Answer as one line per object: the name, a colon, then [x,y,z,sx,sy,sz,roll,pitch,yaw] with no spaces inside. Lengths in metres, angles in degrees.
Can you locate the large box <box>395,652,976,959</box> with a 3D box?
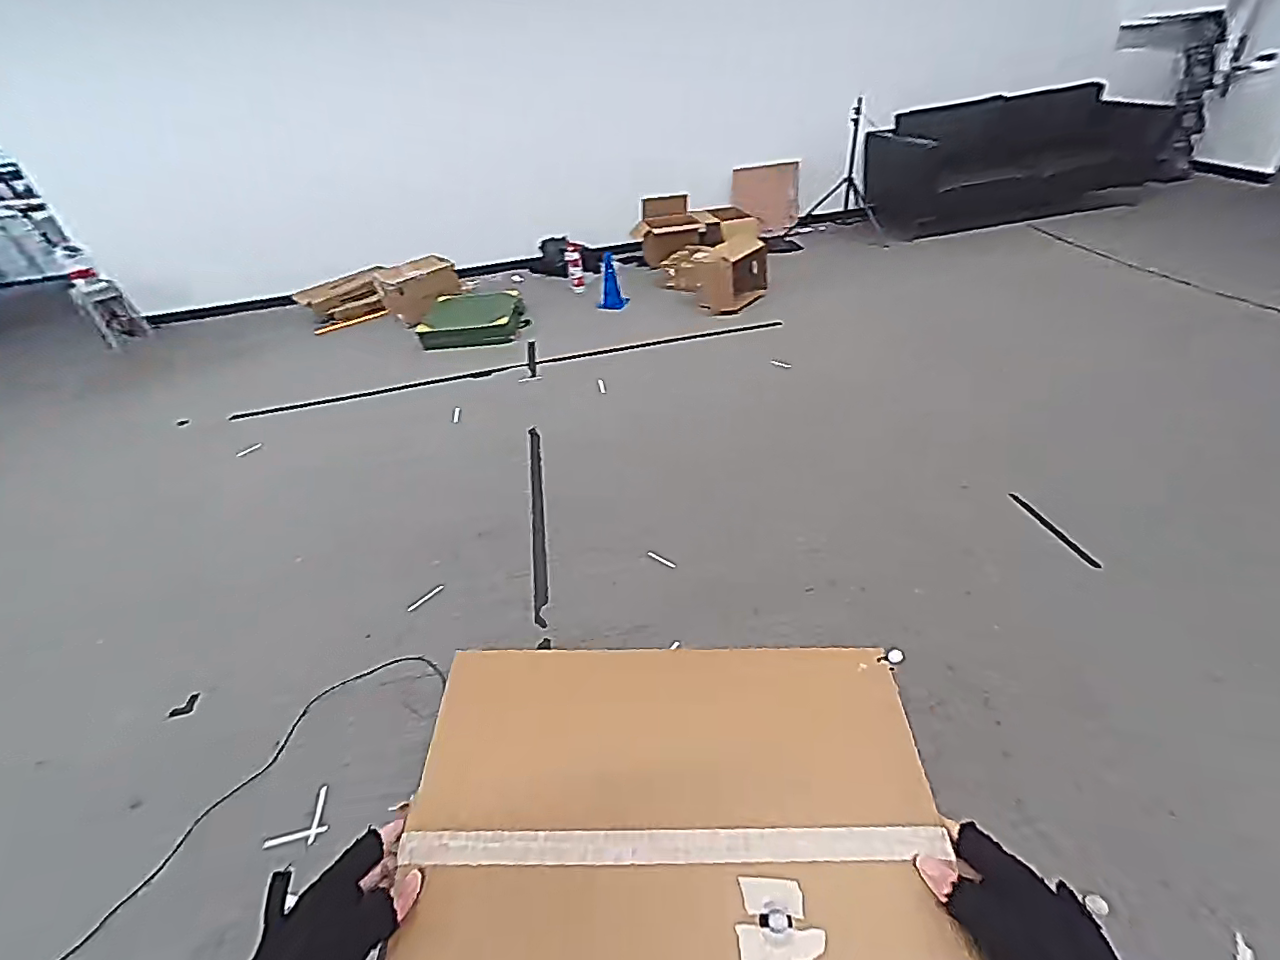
large box: [0.029,0.384,0.519,0.408,0.320,0.320,-1,46,0]
